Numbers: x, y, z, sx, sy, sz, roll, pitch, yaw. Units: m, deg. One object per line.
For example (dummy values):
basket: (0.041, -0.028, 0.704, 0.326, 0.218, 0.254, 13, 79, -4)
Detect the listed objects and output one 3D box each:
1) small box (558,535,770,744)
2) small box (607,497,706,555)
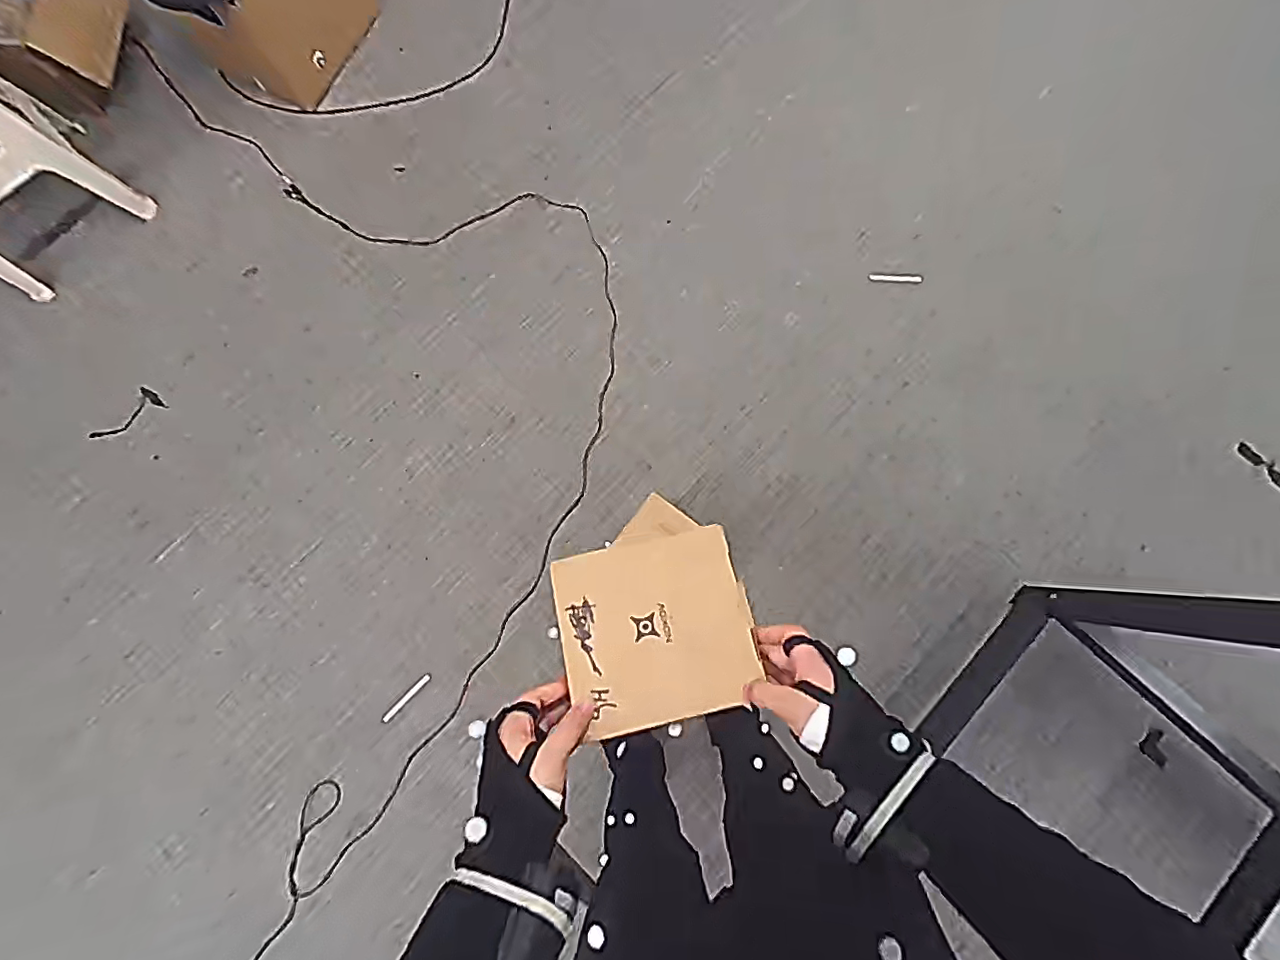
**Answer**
small box: (0.017, 0.174, 0.582, 0.179, 0.176, 0.168, -11, 66, -5)
small box: (0.035, 0.160, 1.073, 0.168, 0.176, 0.179, 37, 81, 5)
